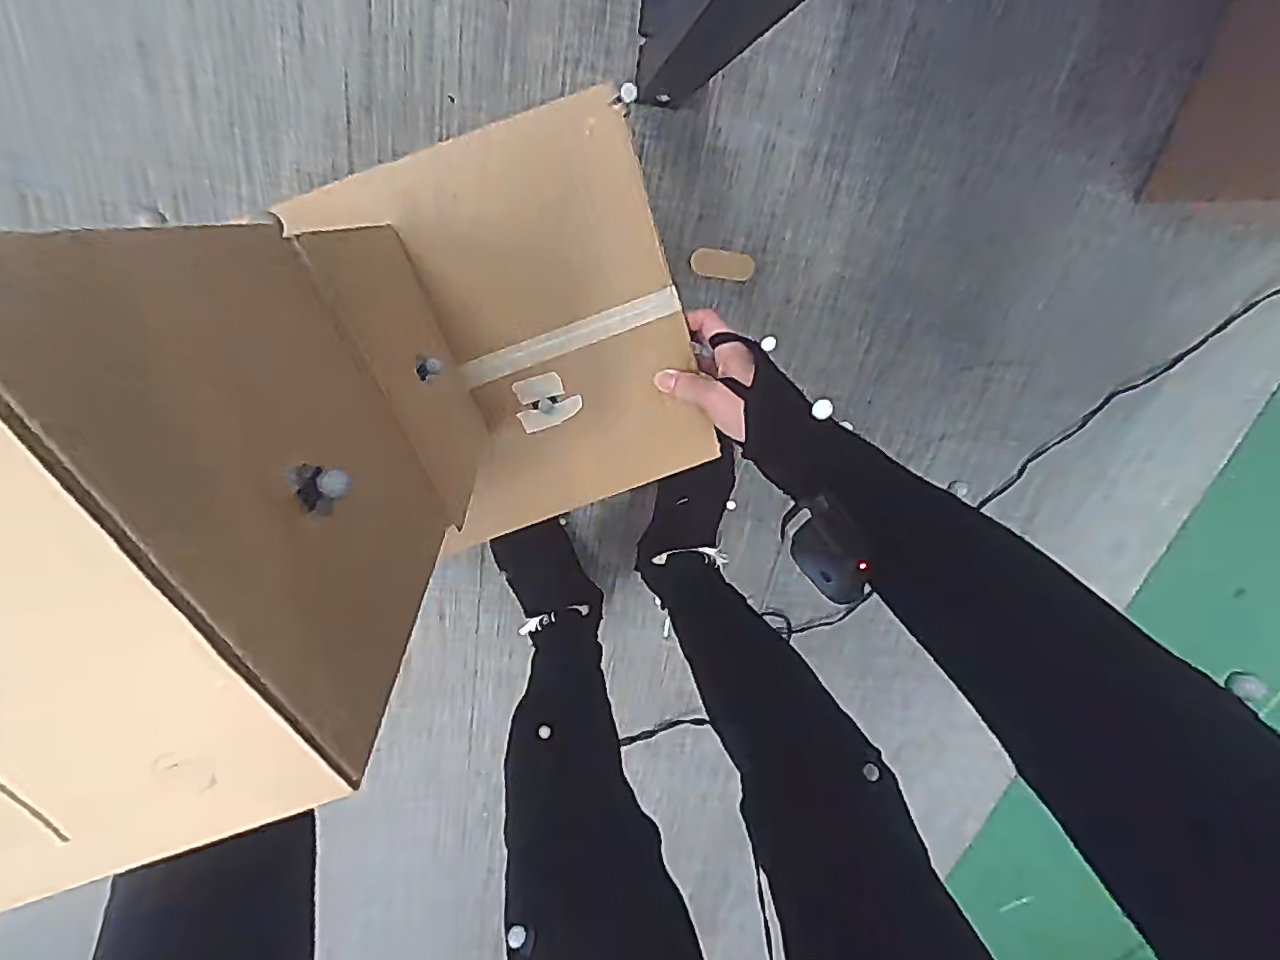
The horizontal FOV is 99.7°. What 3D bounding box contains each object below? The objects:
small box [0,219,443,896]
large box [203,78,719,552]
[{"bbox_3d":[-0.202,0.015,0.213,0.168,0.176,0.179,-19,118,1],"label":"small box"},{"bbox_3d":[-0.178,-0.156,0.593,0.408,0.320,0.320,-21,118,0],"label":"large box"}]
